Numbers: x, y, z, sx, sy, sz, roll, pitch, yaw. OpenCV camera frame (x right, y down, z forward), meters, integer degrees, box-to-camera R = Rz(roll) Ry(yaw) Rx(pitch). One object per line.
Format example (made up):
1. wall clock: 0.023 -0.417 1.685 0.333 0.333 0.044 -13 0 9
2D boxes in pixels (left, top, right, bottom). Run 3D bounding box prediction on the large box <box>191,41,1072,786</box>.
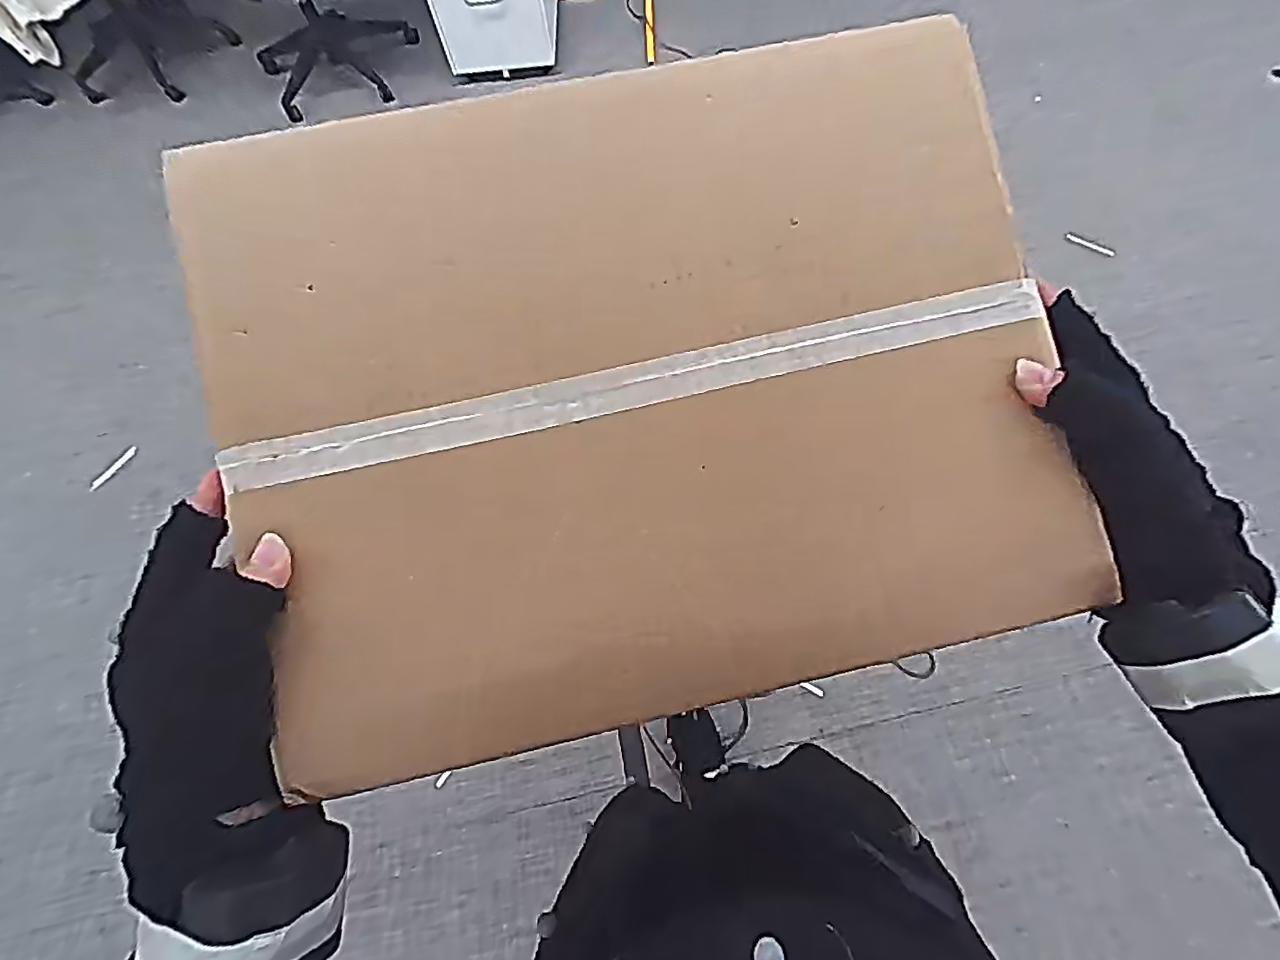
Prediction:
1. large box: -0.005 -0.039 0.423 0.408 0.320 0.320 -12 87 -3
